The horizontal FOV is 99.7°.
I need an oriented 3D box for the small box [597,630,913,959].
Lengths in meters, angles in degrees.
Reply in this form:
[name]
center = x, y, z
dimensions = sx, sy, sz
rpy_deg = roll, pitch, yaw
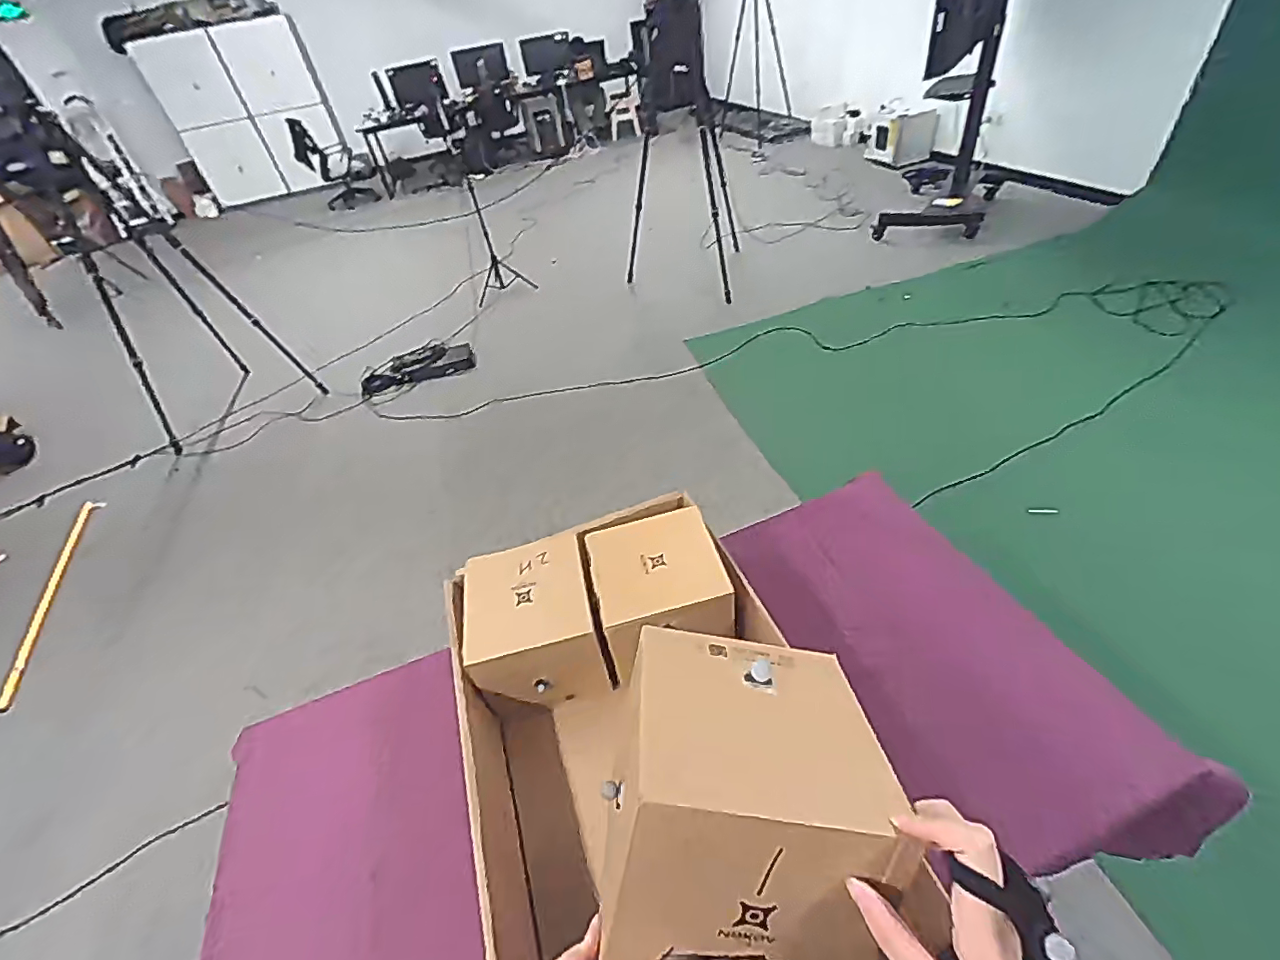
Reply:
[small box]
center = 0.067, 0.244, 0.409
dimensions = 0.168, 0.179, 0.176
rpy_deg = 9, 18, -1
